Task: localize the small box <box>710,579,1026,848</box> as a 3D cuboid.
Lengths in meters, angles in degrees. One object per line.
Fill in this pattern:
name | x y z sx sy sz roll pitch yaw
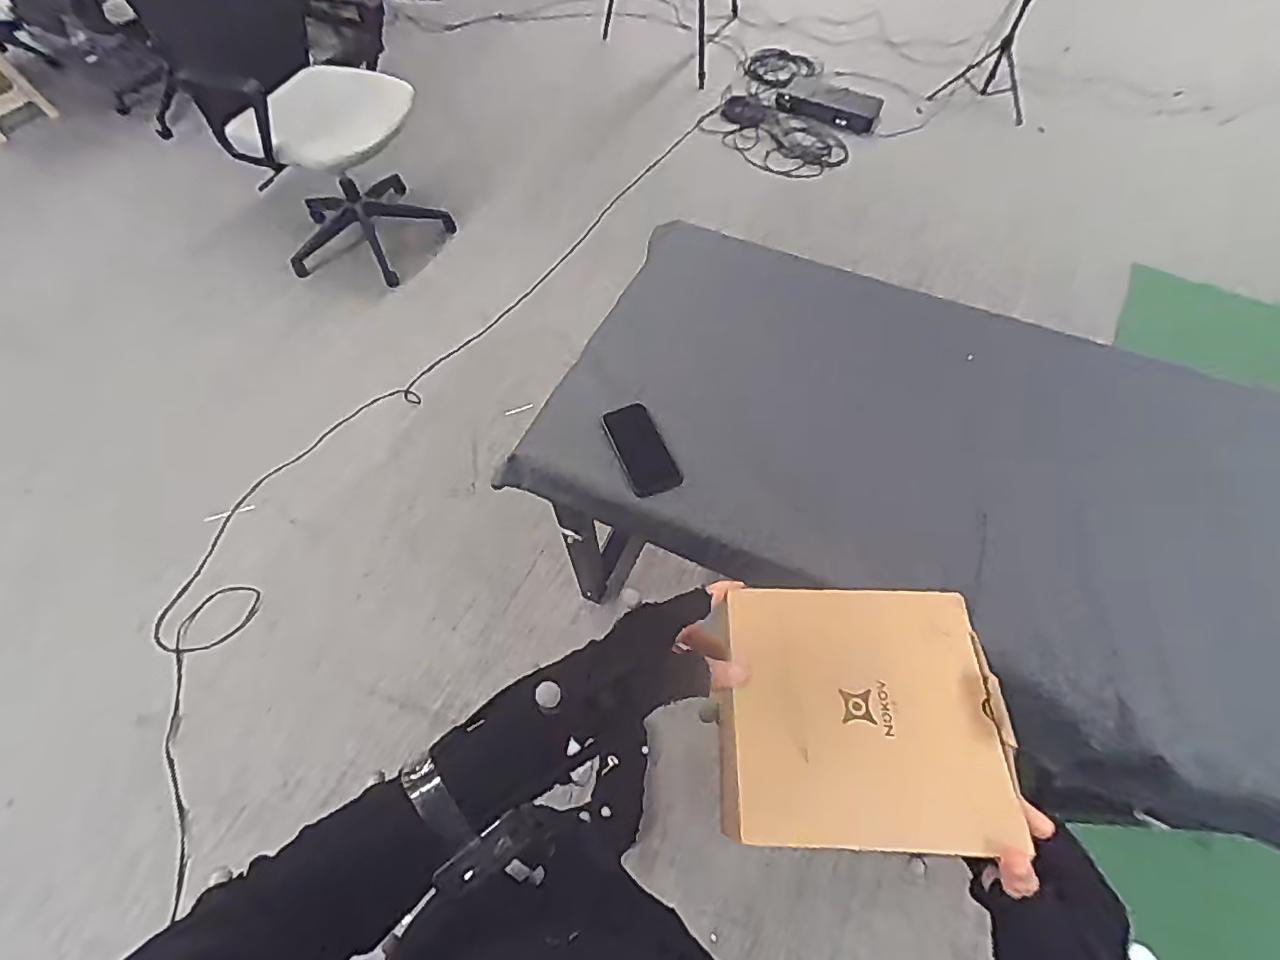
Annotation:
small box | 0.151 0.189 0.435 0.179 0.176 0.168 0 57 4
